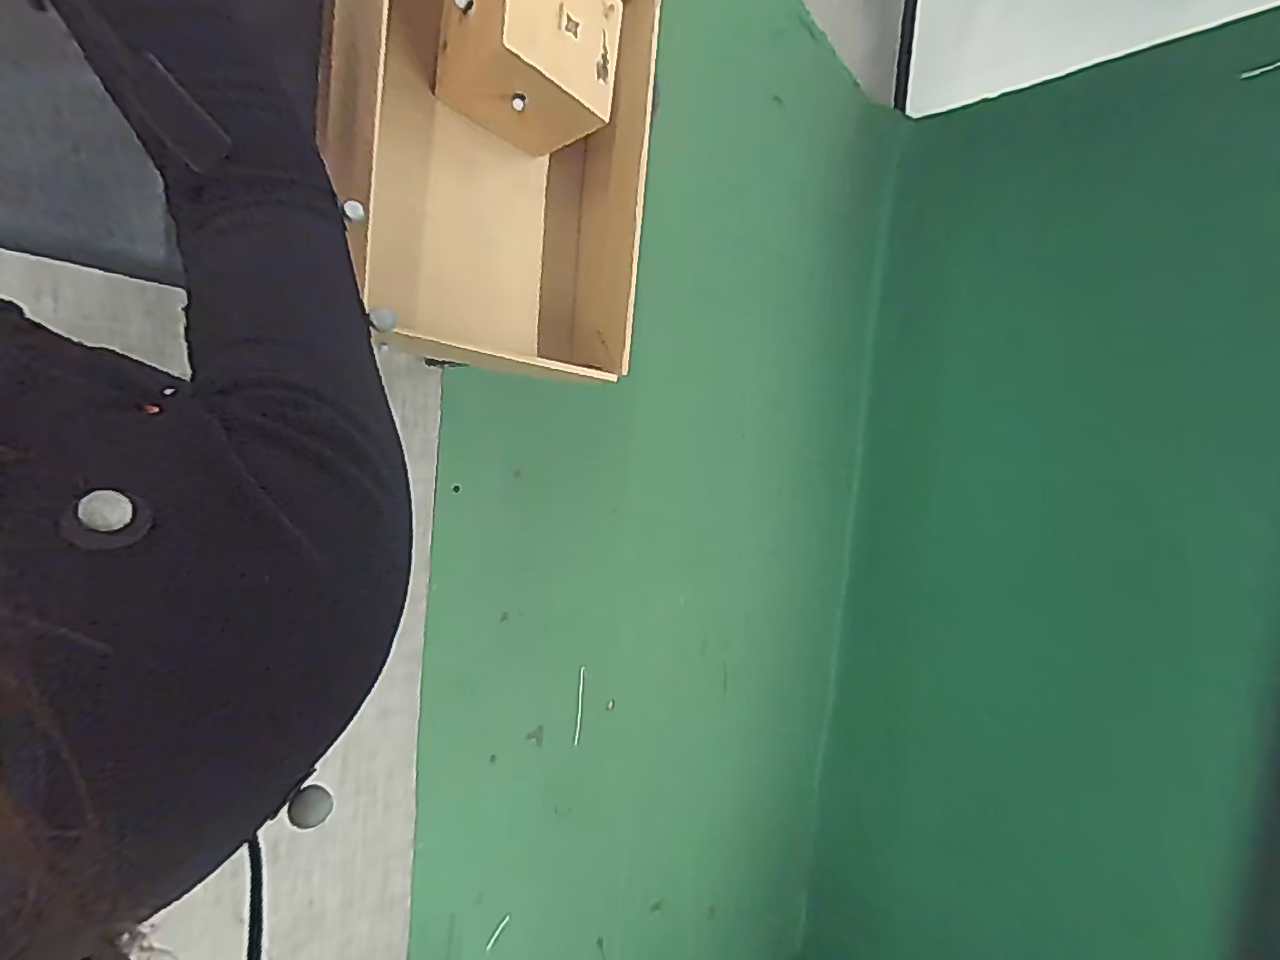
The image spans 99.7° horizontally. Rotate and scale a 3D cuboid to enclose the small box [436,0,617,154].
[{"bbox_3d":[-0.158,-0.582,0.736,0.179,0.176,0.168,4,94,-46],"label":"small box"}]
